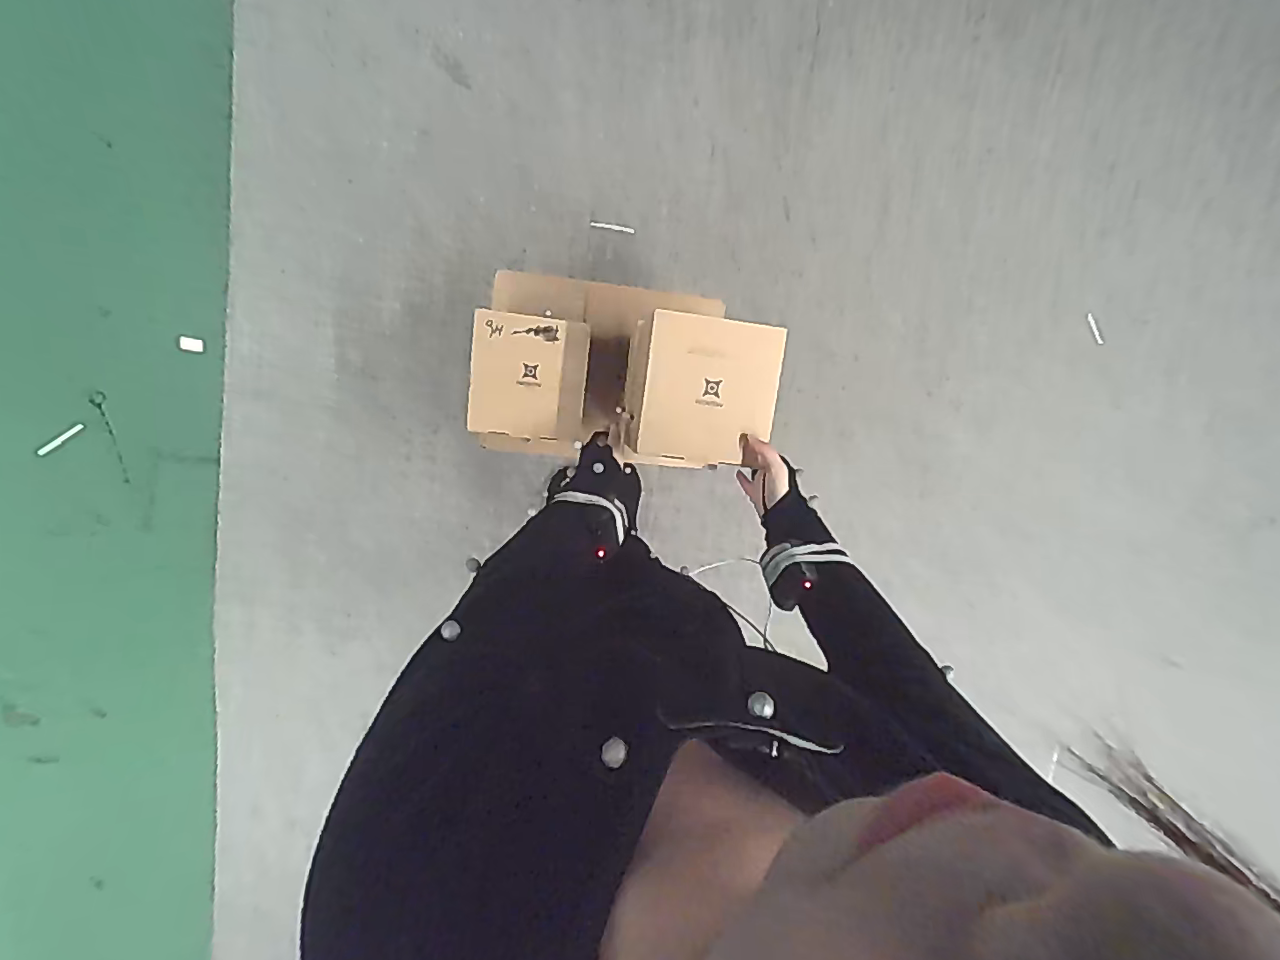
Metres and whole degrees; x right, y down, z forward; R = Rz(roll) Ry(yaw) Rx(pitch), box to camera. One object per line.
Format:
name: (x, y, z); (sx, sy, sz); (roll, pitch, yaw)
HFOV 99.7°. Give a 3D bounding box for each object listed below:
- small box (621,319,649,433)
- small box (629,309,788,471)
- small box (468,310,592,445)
small box: (0.062, -0.154, 0.888); (0.168, 0.176, 0.179); (5, 98, -7)
small box: (0.079, -0.118, 0.730); (0.168, 0.176, 0.179); (7, 98, -8)
small box: (-0.169, -0.160, 0.859); (0.168, 0.176, 0.179); (6, 99, -9)
